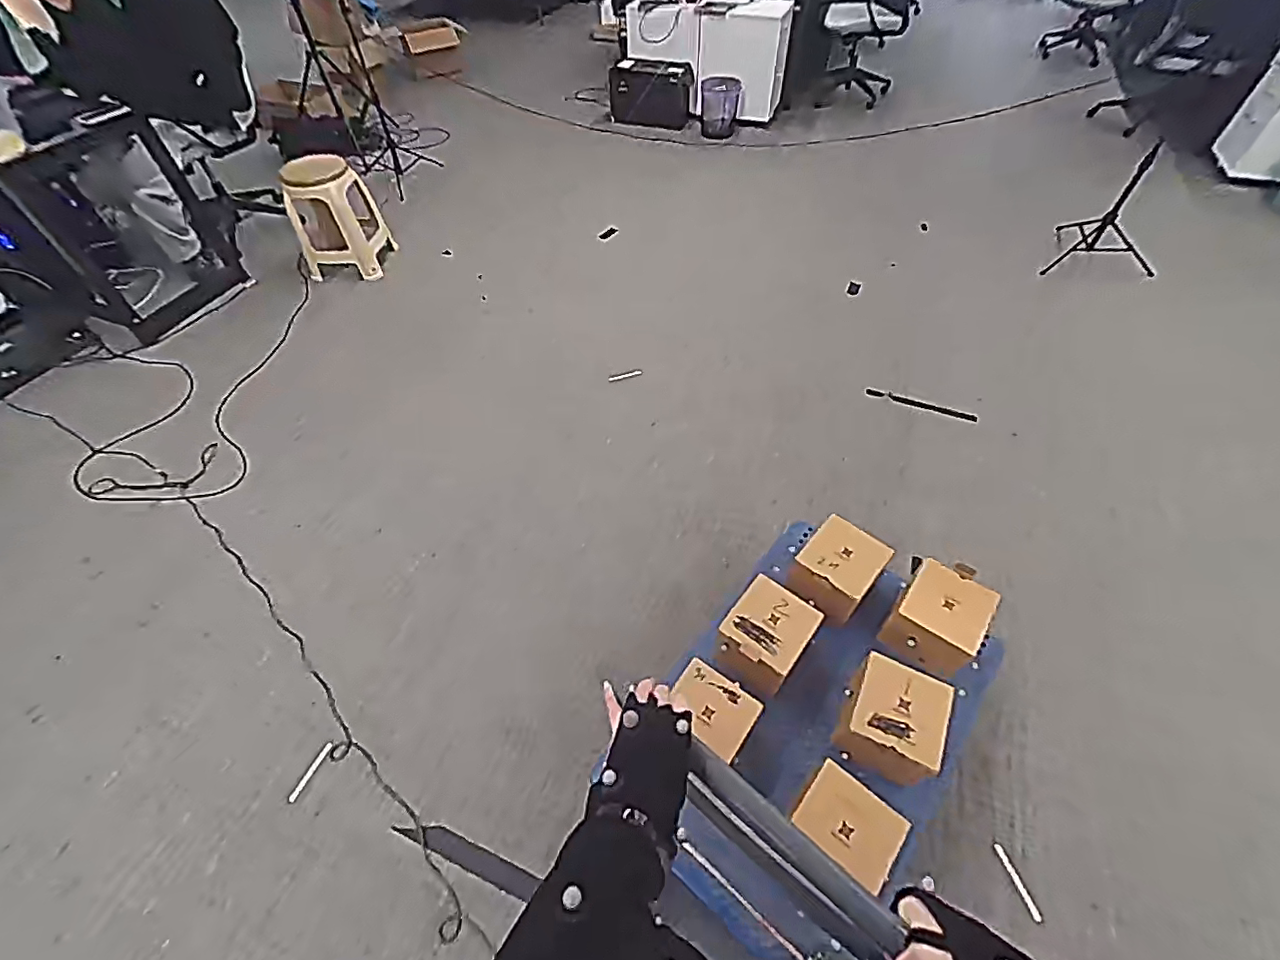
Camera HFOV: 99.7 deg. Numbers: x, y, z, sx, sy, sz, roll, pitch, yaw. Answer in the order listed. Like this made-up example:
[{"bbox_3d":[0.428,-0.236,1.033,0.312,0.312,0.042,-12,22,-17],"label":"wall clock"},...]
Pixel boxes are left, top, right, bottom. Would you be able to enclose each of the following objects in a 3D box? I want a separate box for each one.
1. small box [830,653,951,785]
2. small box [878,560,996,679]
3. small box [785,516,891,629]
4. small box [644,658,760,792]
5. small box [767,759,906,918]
[{"bbox_3d":[0.512,0.501,1.125,0.168,0.176,0.179,23,56,18],"label":"small box"},{"bbox_3d":[0.679,0.328,1.256,0.168,0.176,0.179,31,59,24],"label":"small box"},{"bbox_3d":[0.479,0.230,1.335,0.168,0.176,0.179,36,61,26],"label":"small box"},{"bbox_3d":[0.126,0.513,1.125,0.168,0.176,0.179,32,59,22],"label":"small box"},{"bbox_3d":[0.353,0.664,1.005,0.168,0.176,0.179,35,60,24],"label":"small box"}]
